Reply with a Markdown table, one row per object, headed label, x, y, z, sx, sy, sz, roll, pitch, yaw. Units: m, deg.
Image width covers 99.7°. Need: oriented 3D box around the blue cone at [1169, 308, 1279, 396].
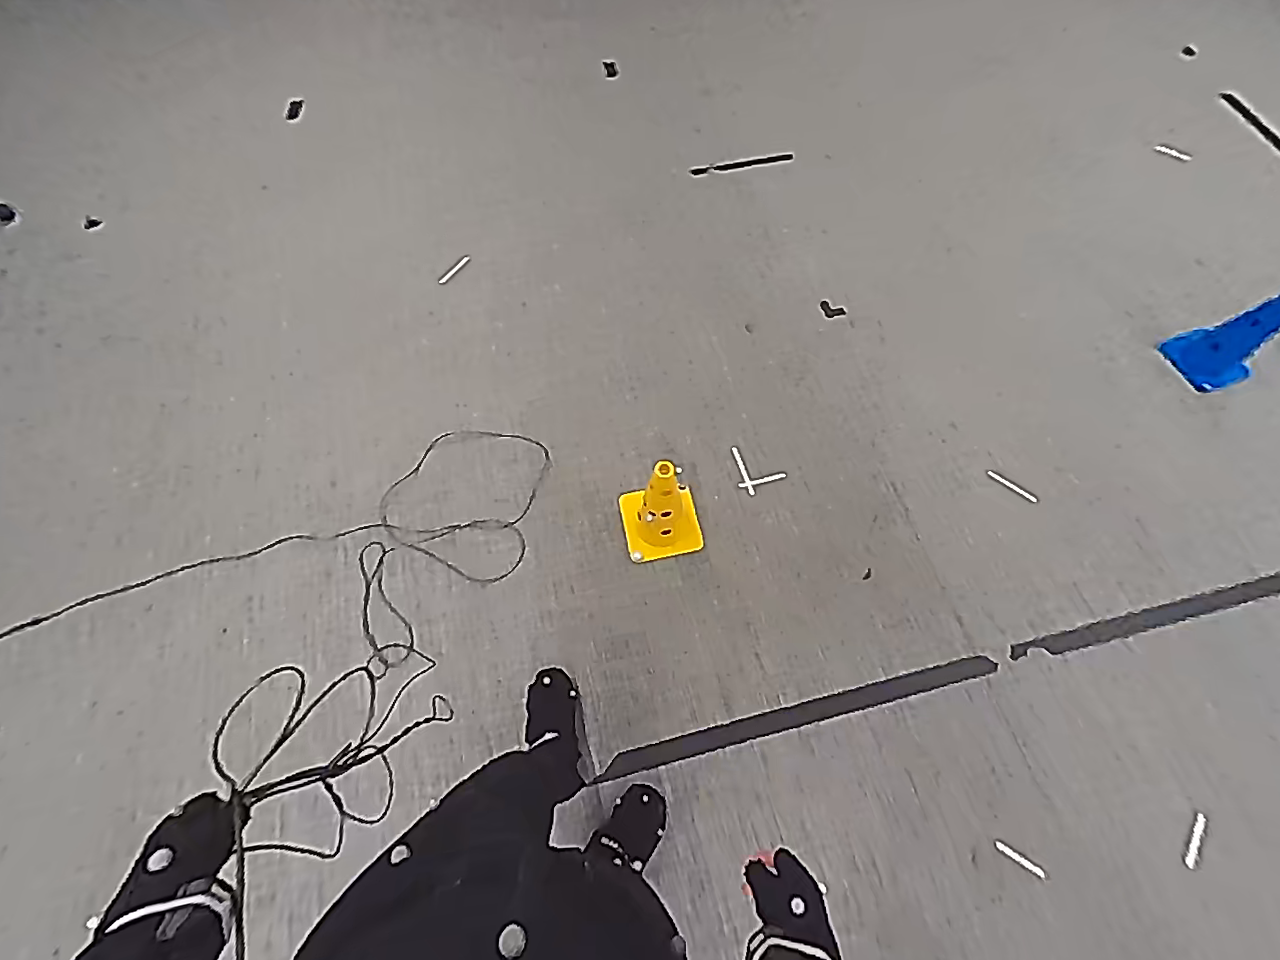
| label | x | y | z | sx | sy | sz | roll | pitch | yaw |
| --- | --- | --- | --- | --- | --- | --- | --- | --- | --- |
| blue cone | 1.747 | -0.422 | 1.508 | 0.193 | 0.380 | 0.192 | -18 | 68 | -7 |
